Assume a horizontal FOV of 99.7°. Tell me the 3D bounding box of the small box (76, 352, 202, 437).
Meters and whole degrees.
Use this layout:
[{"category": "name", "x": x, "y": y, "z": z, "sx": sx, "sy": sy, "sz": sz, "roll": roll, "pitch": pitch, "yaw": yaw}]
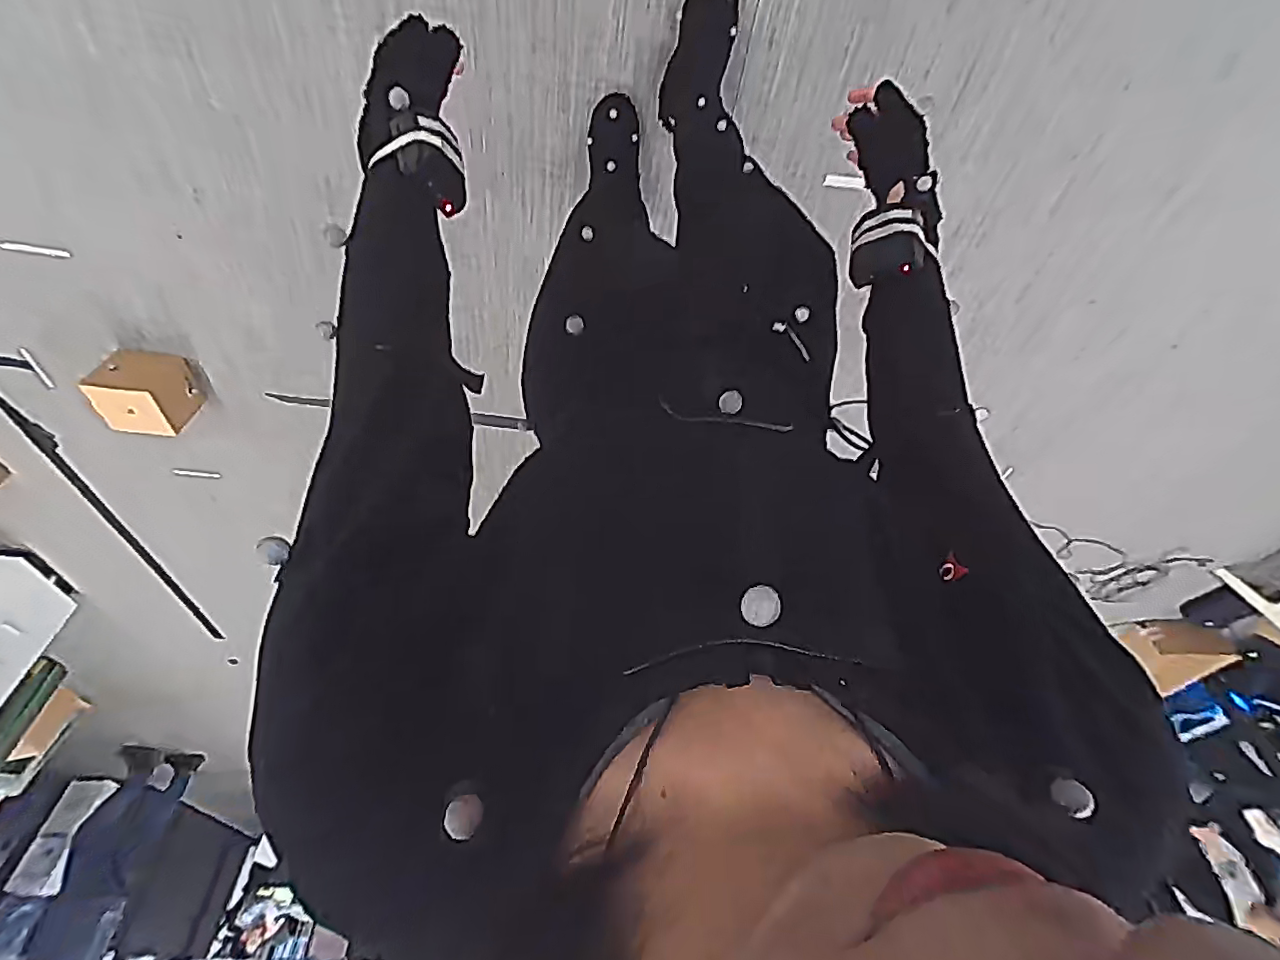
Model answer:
[{"category": "small box", "x": -1.417, "y": -0.247, "z": 1.546, "sx": 0.179, "sy": 0.176, "sz": 0.168, "roll": 5, "pitch": 137, "yaw": -7}]
